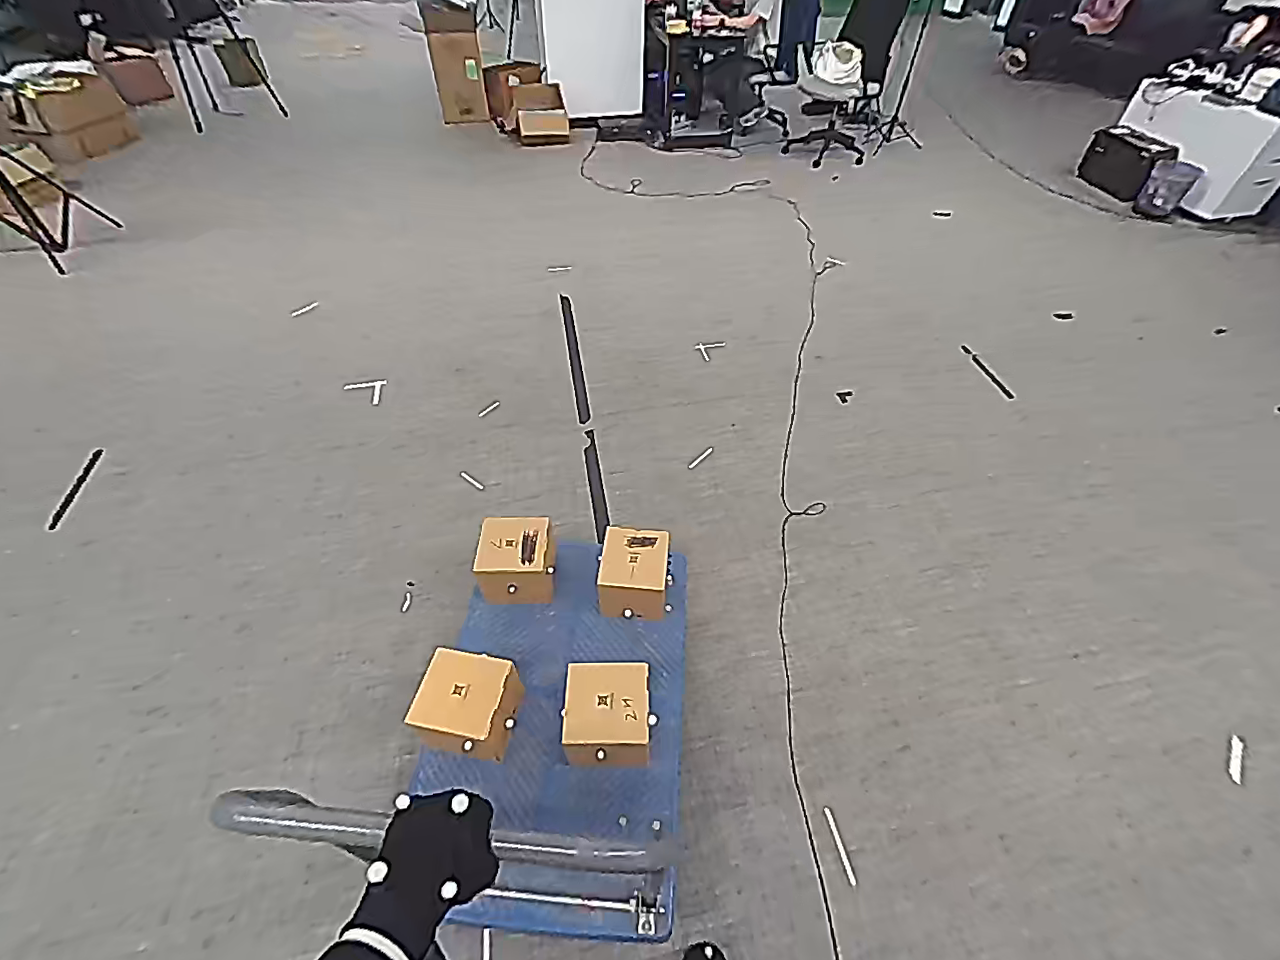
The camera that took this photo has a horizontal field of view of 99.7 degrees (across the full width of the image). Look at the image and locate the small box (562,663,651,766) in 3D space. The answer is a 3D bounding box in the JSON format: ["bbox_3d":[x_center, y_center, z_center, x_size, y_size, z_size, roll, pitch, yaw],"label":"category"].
[{"bbox_3d":[-0.066,0.512,1.176,0.179,0.176,0.168,0,49,0],"label":"small box"}]

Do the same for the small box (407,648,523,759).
[{"bbox_3d":[-0.373,0.495,1.190,0.179,0.176,0.168,9,49,5],"label":"small box"}]

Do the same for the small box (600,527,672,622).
[{"bbox_3d":[-0.010,0.247,1.412,0.168,0.176,0.179,5,50,4],"label":"small box"}]
